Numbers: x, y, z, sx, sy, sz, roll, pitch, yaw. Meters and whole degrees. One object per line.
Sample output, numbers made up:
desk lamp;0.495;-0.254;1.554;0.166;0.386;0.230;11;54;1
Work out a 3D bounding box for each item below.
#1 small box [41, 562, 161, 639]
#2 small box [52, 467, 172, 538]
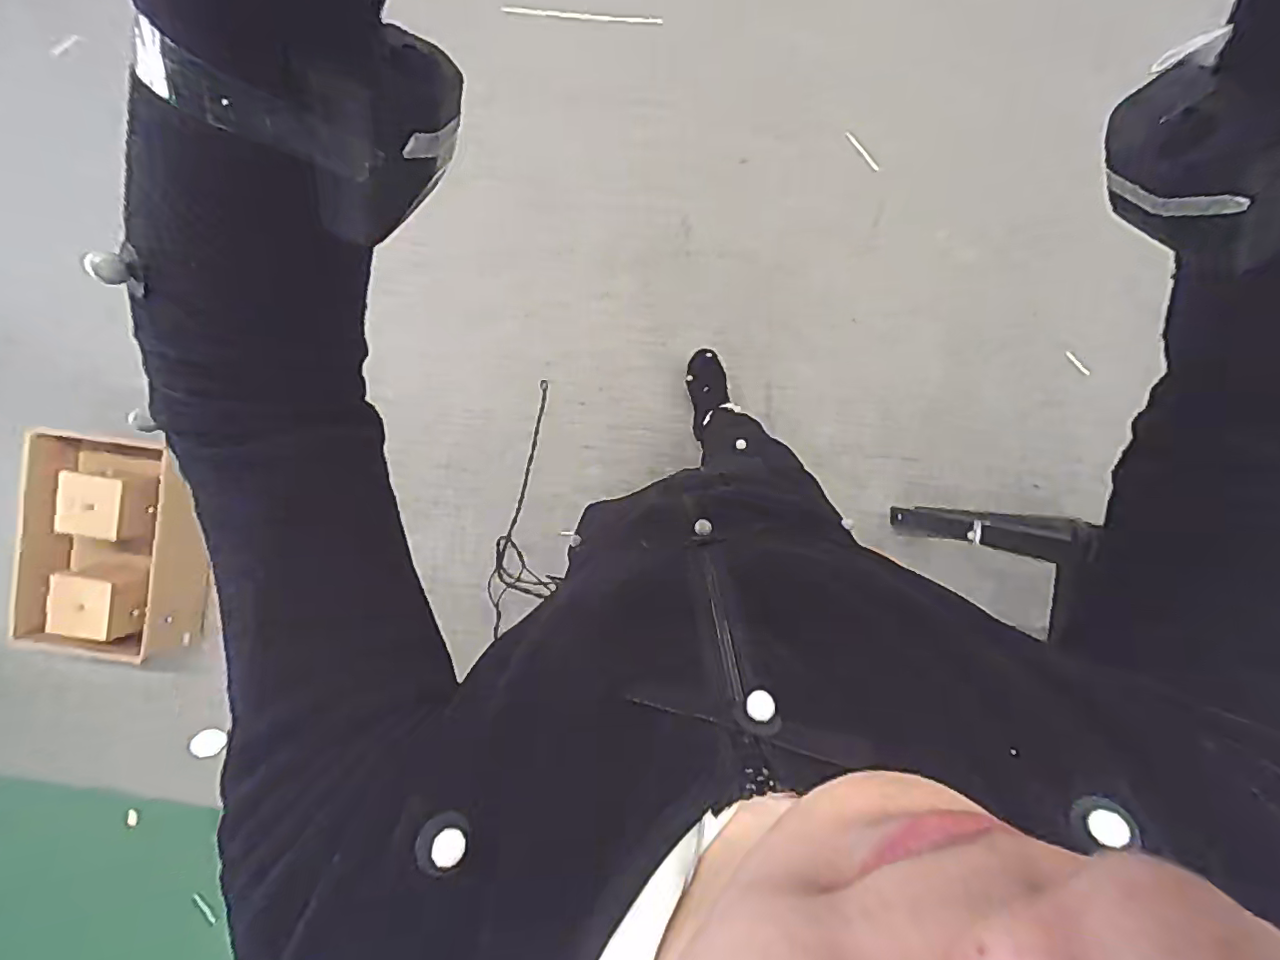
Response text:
small box;-1.529;0.337;1.545;0.179;0.176;0.168;9;92;2
small box;-1.487;0.058;1.533;0.179;0.176;0.168;10;93;1
